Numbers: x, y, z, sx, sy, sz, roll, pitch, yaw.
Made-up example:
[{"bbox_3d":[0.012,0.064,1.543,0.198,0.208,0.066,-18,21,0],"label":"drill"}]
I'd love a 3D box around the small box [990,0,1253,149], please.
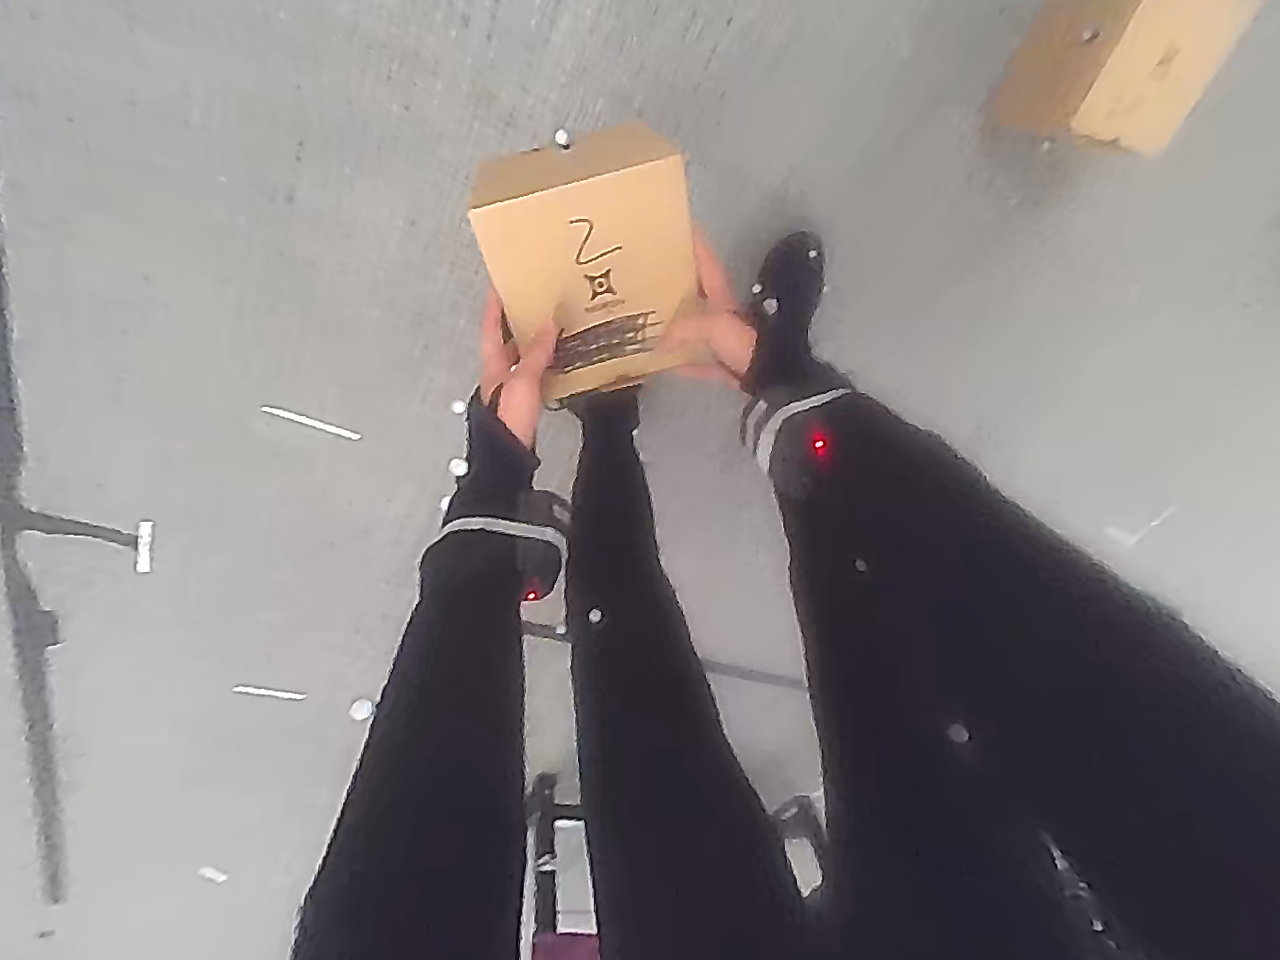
[{"bbox_3d":[0.627,-0.576,0.729,0.168,0.176,0.179,6,126,-16],"label":"small box"}]
